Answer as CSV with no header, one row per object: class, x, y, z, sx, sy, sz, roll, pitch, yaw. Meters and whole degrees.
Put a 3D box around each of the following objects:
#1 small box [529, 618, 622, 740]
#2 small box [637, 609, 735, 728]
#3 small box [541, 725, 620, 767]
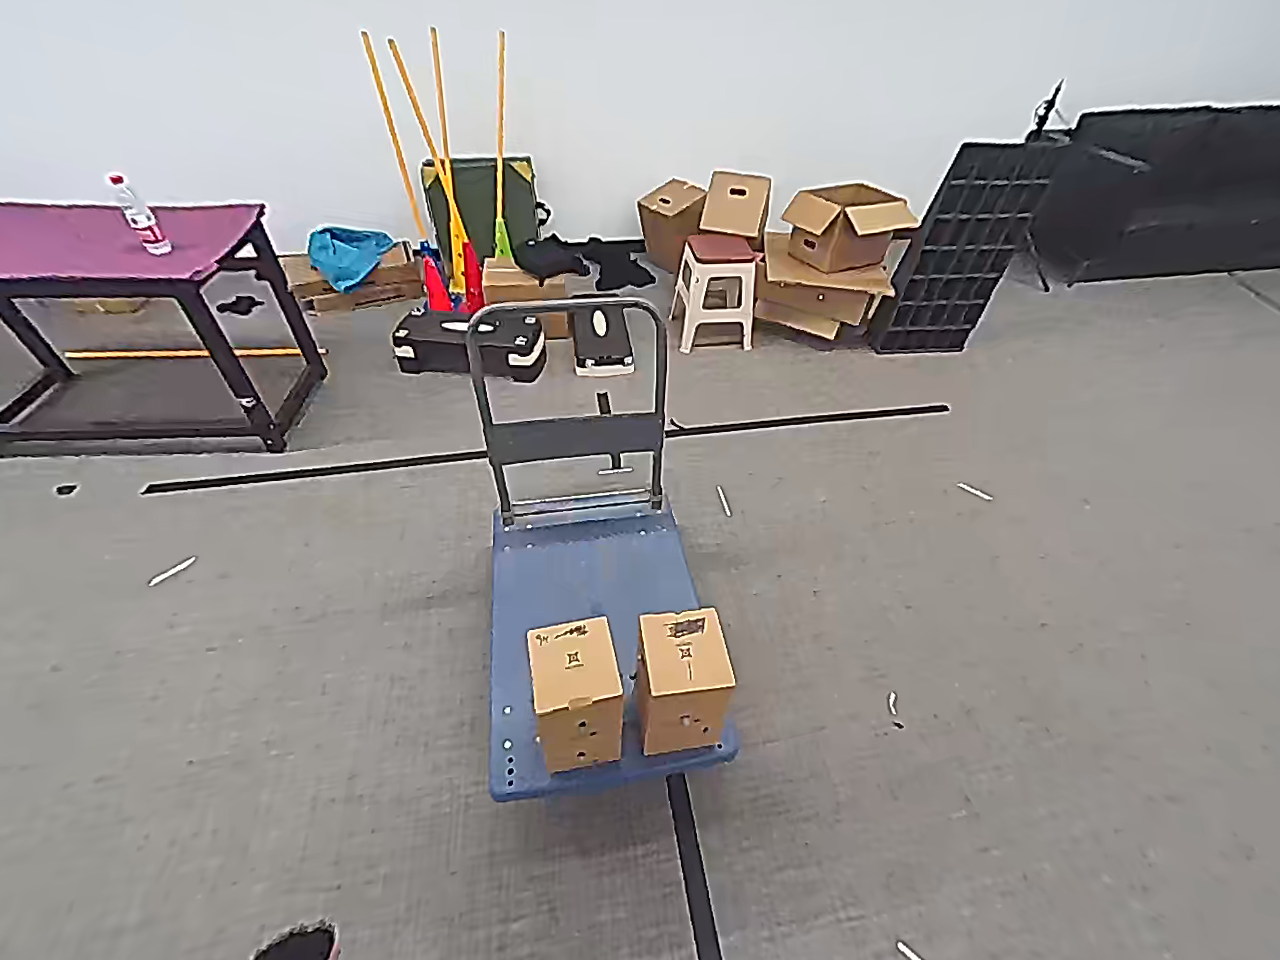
small box,-0.131,0.411,1.104,0.168,0.176,0.179,-7,46,-11
small box,0.087,0.394,1.132,0.168,0.176,0.179,-3,45,-7
small box,-0.136,0.527,1.221,0.168,0.176,0.179,-6,45,-10
